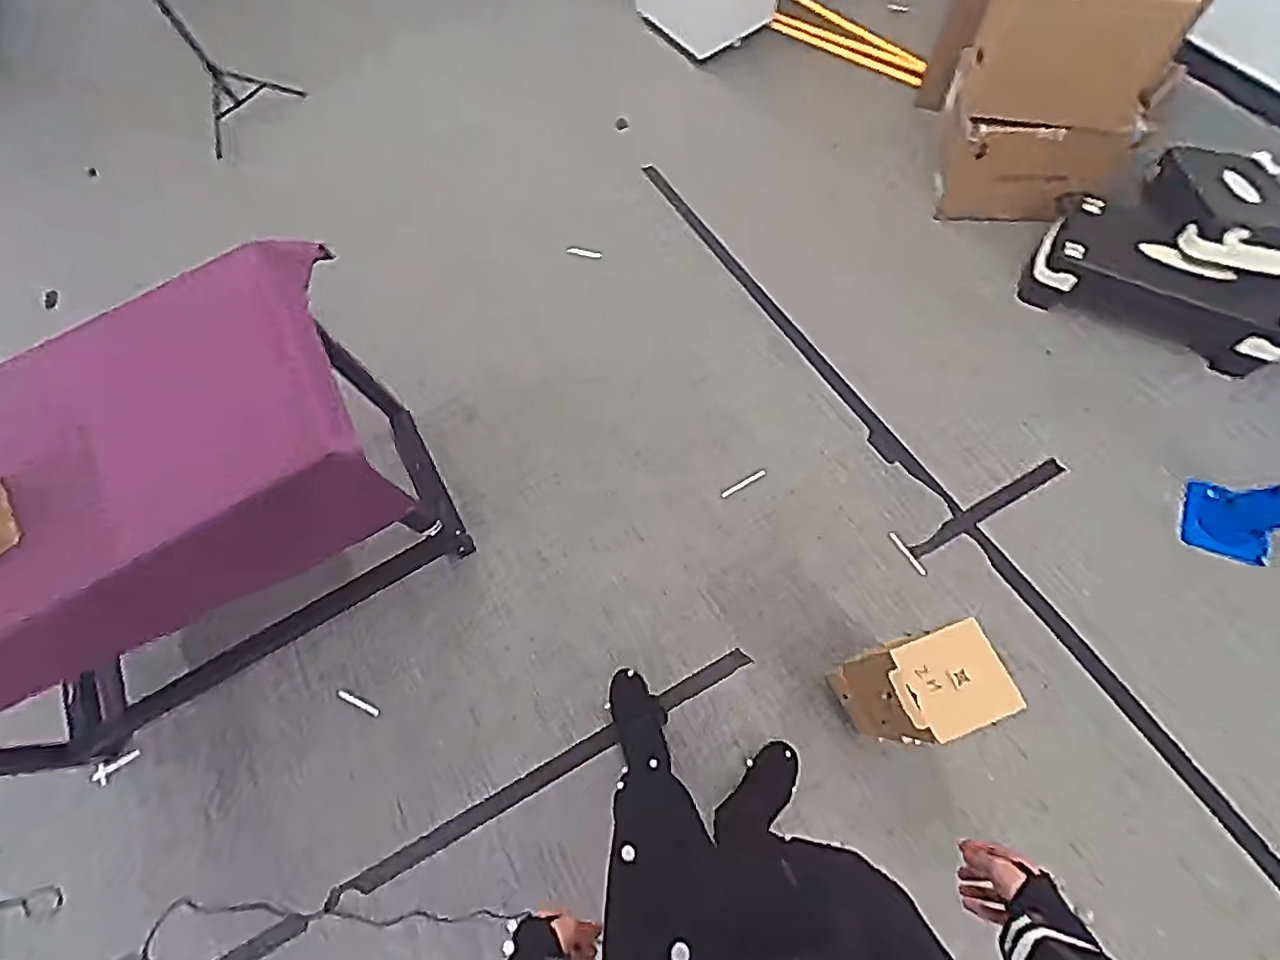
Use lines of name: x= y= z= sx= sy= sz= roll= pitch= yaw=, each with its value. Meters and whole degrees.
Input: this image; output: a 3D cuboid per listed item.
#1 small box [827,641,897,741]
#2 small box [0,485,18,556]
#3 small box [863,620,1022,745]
small box: x=0.582 y=0.517 z=1.328 sx=0.179 sy=0.176 sz=0.168 roll=-26 pitch=68 yaw=-5
small box: x=-1.219 y=0.079 z=0.894 sx=0.179 sy=0.176 sz=0.168 roll=-40 pitch=70 yaw=-11
small box: x=0.559 y=0.381 z=1.027 sx=0.179 sy=0.176 sz=0.168 roll=-21 pitch=68 yaw=-3
